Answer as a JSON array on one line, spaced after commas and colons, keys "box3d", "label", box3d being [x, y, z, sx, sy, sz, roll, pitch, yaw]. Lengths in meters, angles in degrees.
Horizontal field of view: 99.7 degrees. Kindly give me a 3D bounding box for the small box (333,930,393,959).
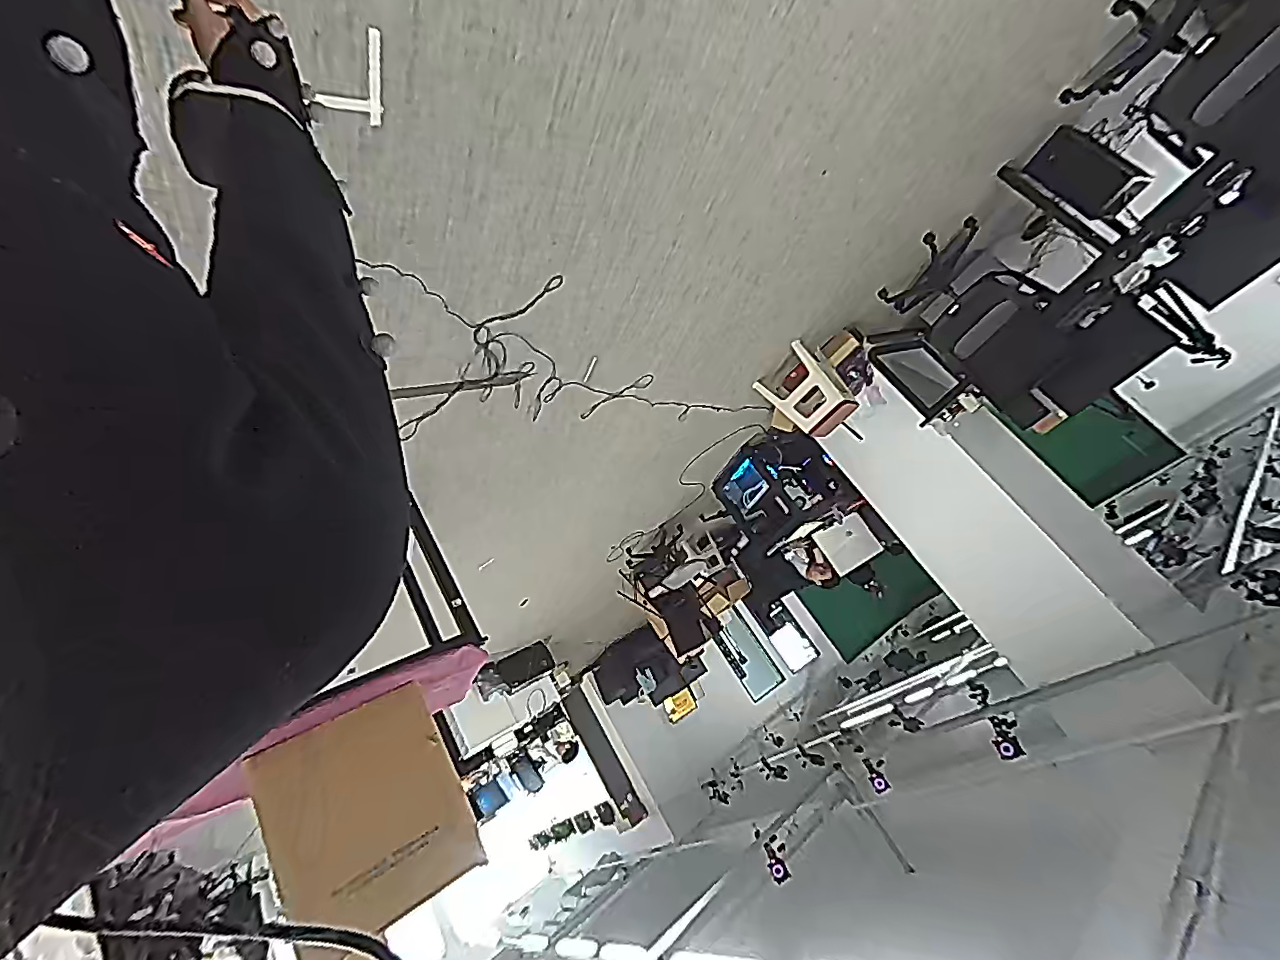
[{"box3d": [-0.845, 1.510, 1.639, 0.179, 0.176, 0.168, -18, 155, -37], "label": "small box"}]
